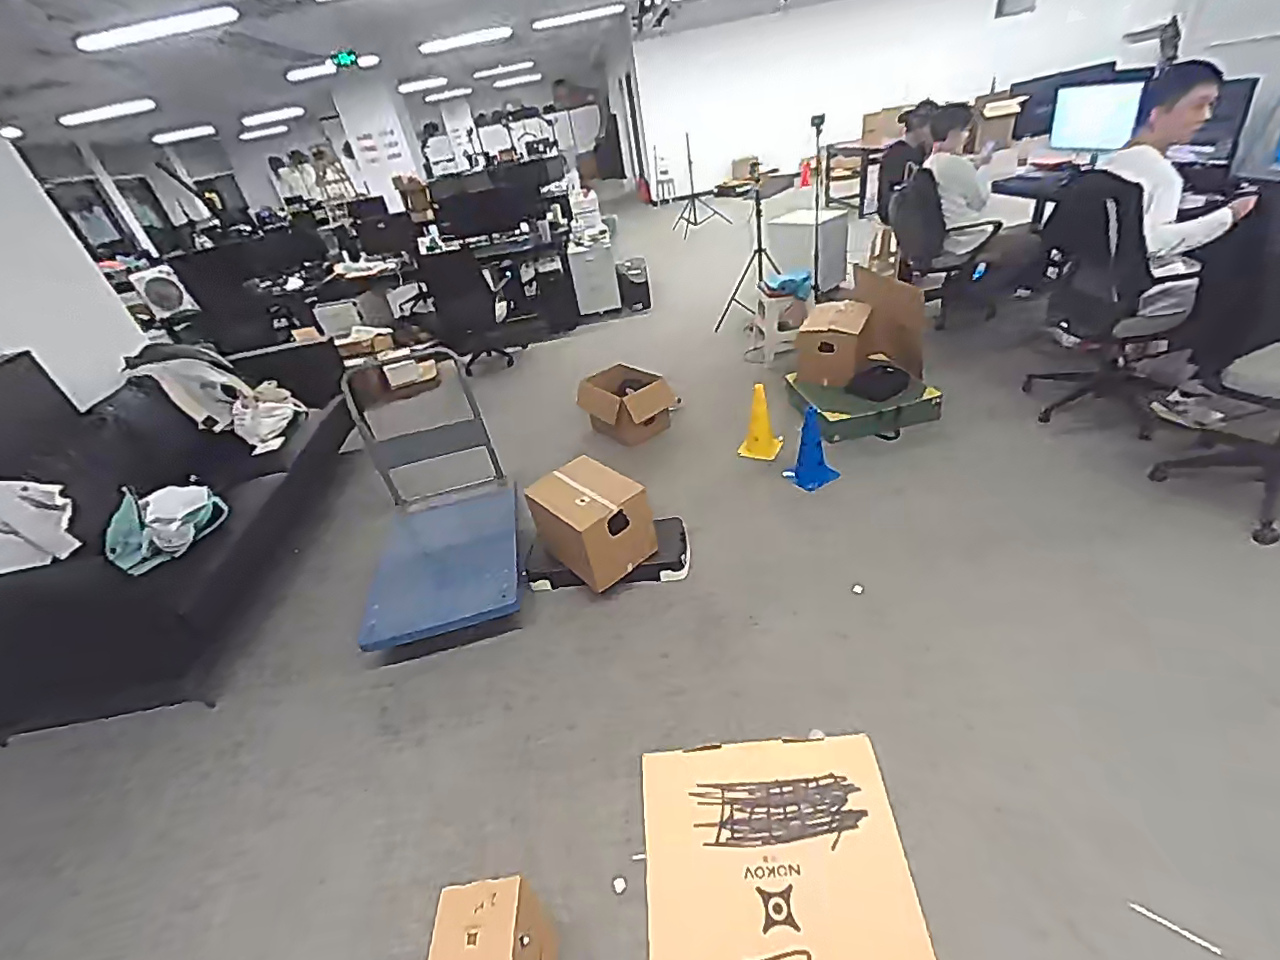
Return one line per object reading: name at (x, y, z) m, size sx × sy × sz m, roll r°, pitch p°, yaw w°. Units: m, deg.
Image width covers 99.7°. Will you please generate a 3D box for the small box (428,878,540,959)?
small box at (-0.300, 0.926, 1.062) m, size 0.168 × 0.176 × 0.179 m, roll -10°, pitch 34°, yaw 2°
